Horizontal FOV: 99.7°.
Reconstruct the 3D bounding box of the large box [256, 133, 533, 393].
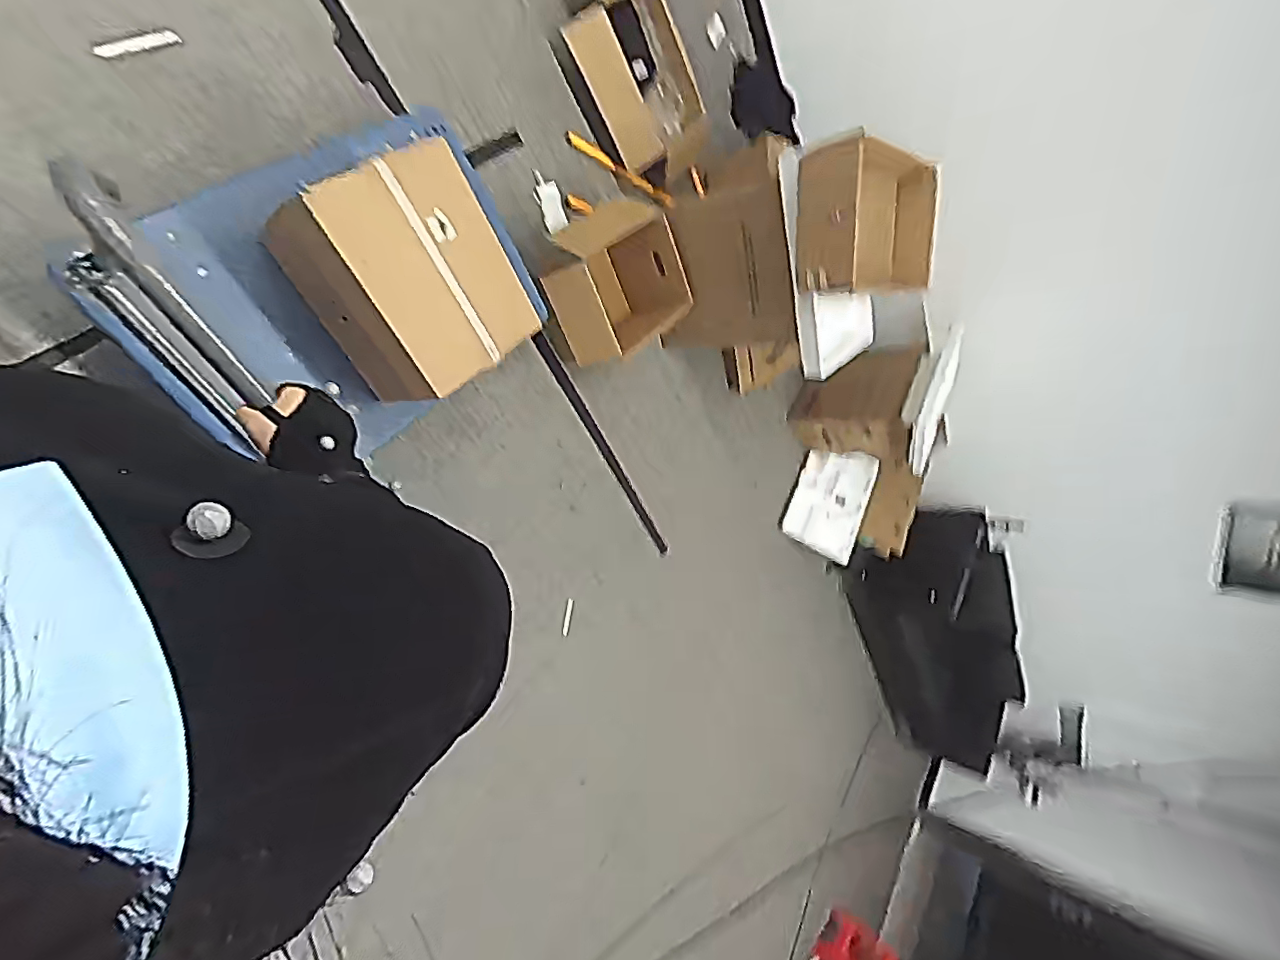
[{"bbox_3d":[-0.517,-0.440,1.172,0.320,0.320,0.408,-48,126,-32],"label":"large box"}]
